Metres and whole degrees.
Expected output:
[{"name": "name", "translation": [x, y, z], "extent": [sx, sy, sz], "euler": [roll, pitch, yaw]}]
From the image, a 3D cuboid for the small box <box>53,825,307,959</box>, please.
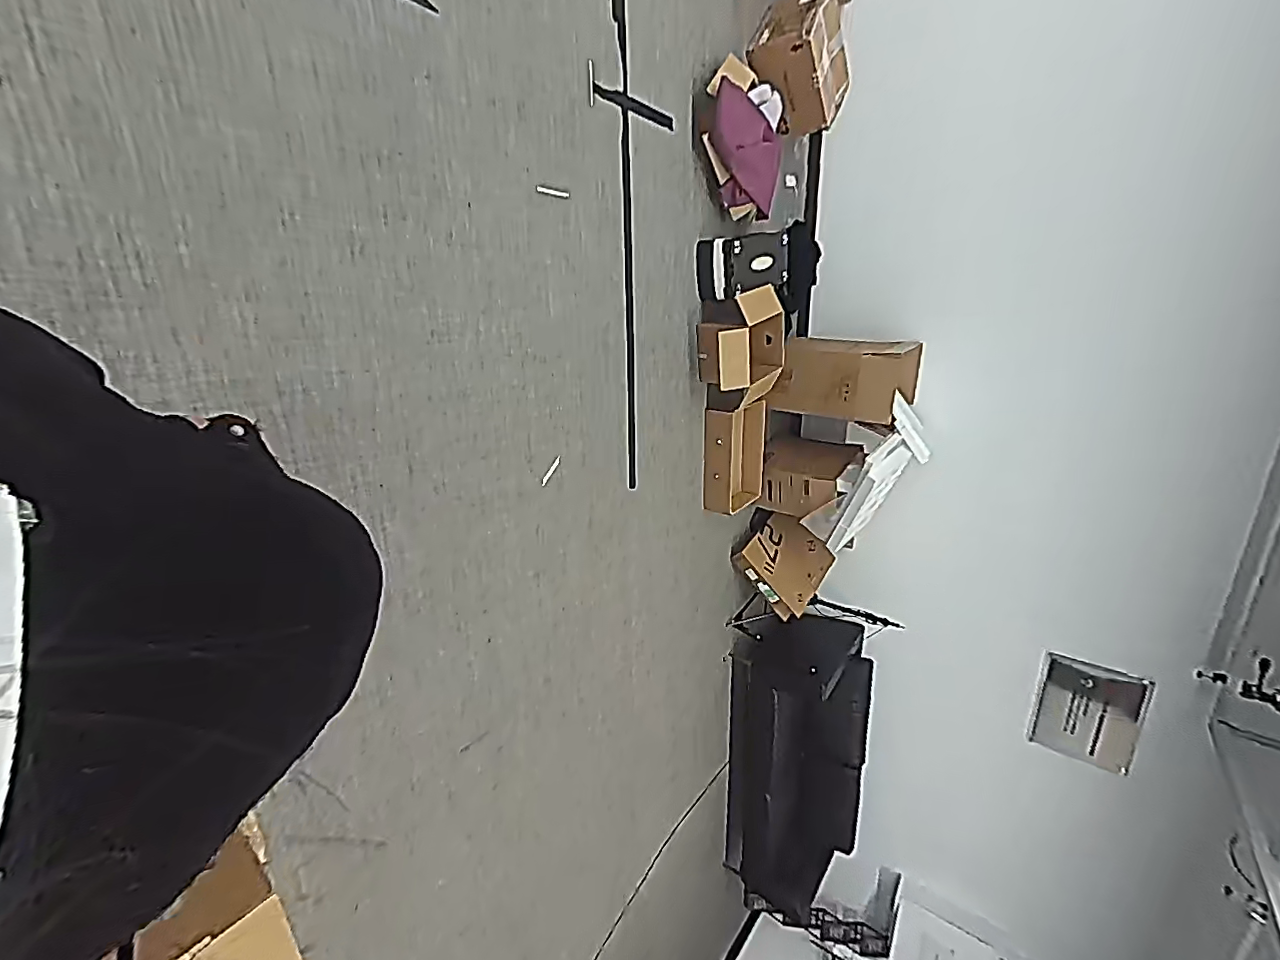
[{"name": "small box", "translation": [-0.505, 0.532, 0.605], "extent": [0.168, 0.176, 0.179], "euler": [-24, 118, -47]}]
